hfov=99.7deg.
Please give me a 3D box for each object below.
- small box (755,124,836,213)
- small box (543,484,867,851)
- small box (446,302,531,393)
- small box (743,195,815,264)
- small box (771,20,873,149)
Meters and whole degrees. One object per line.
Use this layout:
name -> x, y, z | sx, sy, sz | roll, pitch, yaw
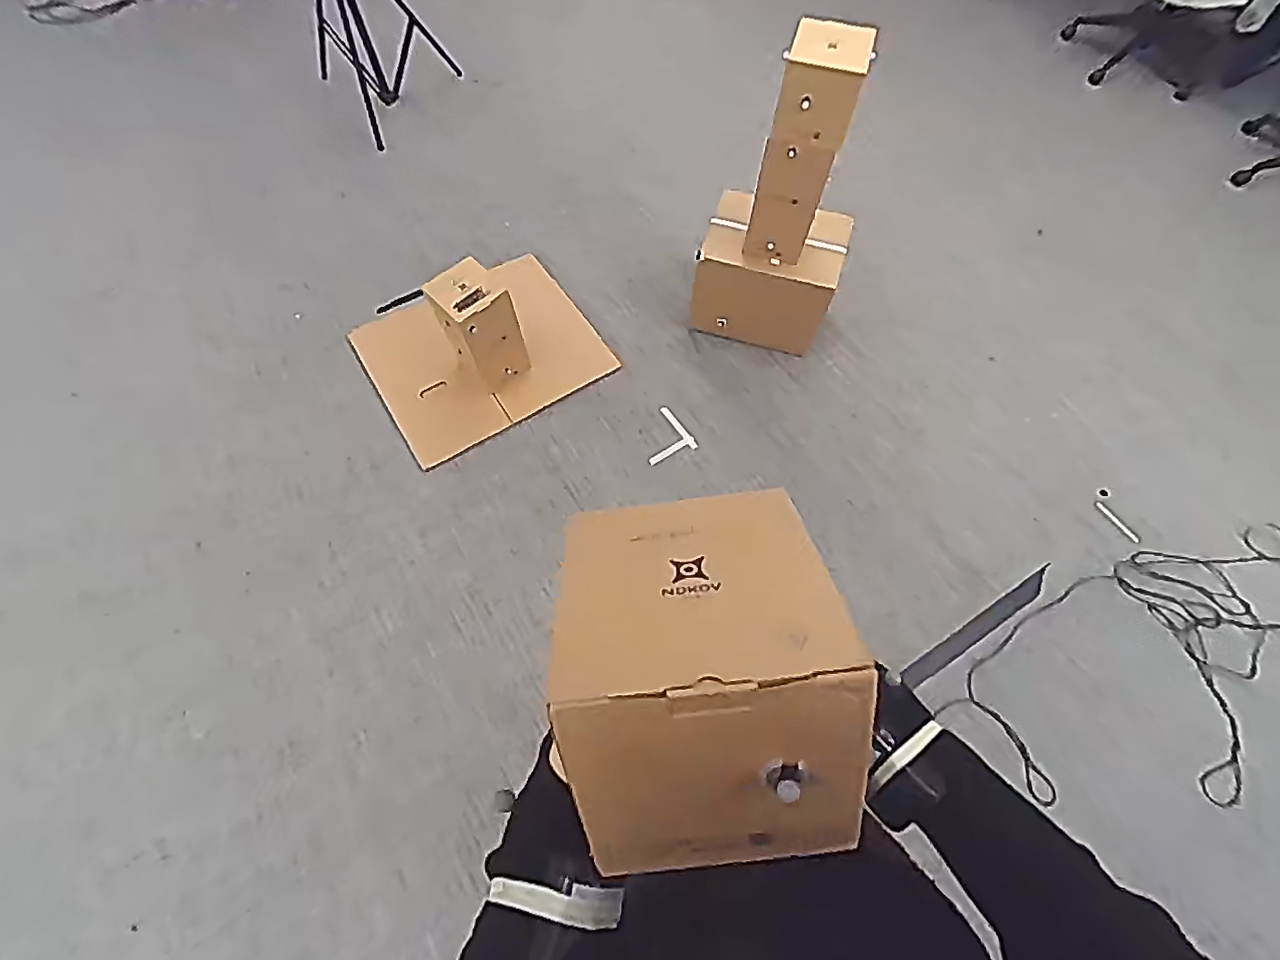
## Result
small box -> 0.398, -0.818, 1.368 | 0.168, 0.176, 0.179 | 15, 65, 7
small box -> 0.039, 0.126, 0.375 | 0.168, 0.176, 0.179 | -7, 29, 1
small box -> -0.464, -0.406, 1.674 | 0.168, 0.176, 0.179 | -40, 72, -15
small box -> 0.395, -0.745, 1.515 | 0.168, 0.176, 0.179 | 15, 66, 7
small box -> 0.403, -0.885, 1.219 | 0.168, 0.176, 0.179 | 15, 65, 7
